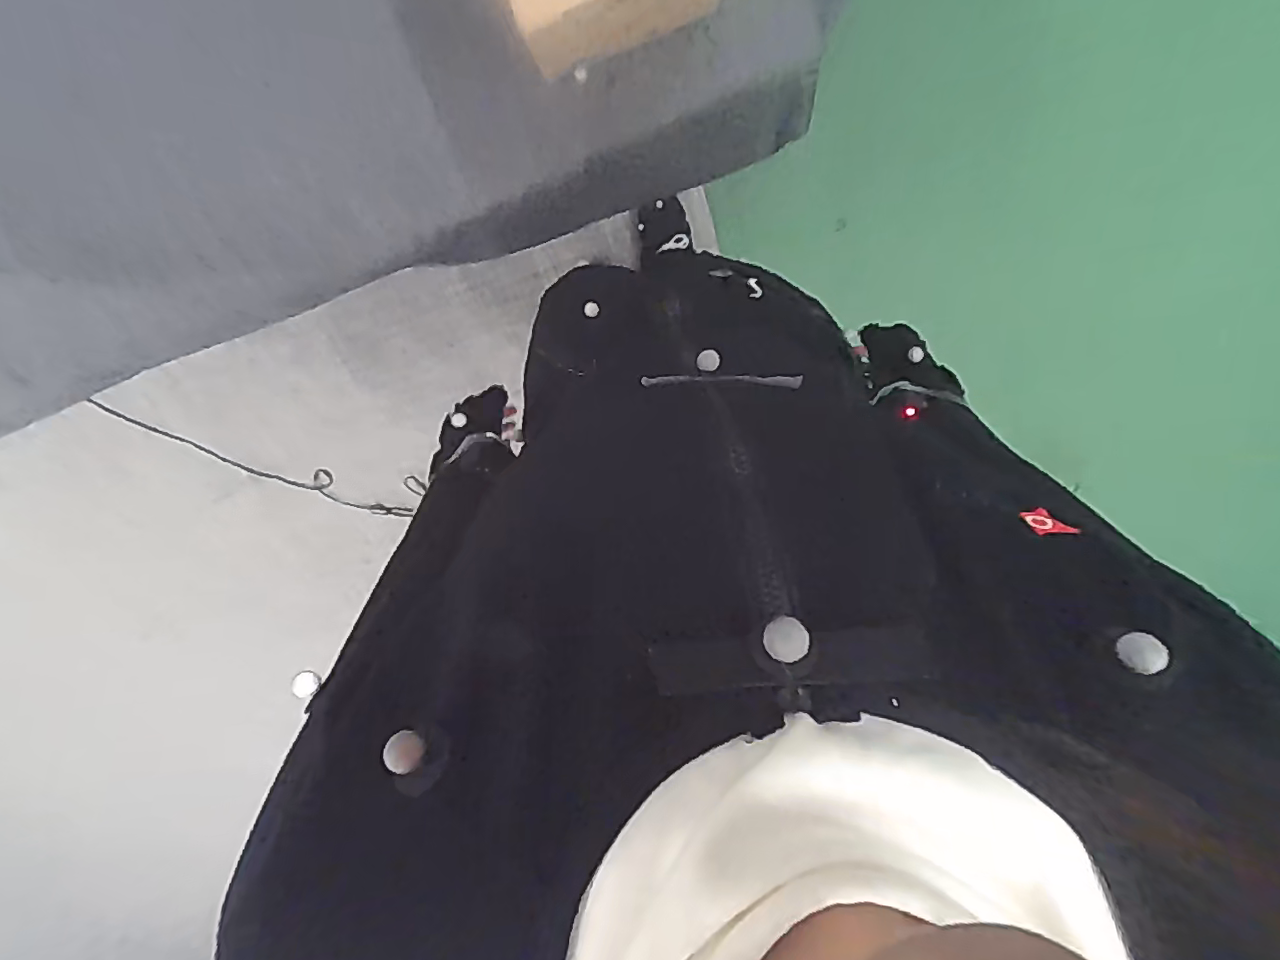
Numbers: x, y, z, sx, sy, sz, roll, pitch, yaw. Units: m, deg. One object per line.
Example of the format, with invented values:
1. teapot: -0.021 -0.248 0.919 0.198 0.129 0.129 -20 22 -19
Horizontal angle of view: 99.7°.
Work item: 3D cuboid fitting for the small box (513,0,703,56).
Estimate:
1. small box: -0.034 -0.439 0.385 0.168 0.176 0.179 -19 116 7
